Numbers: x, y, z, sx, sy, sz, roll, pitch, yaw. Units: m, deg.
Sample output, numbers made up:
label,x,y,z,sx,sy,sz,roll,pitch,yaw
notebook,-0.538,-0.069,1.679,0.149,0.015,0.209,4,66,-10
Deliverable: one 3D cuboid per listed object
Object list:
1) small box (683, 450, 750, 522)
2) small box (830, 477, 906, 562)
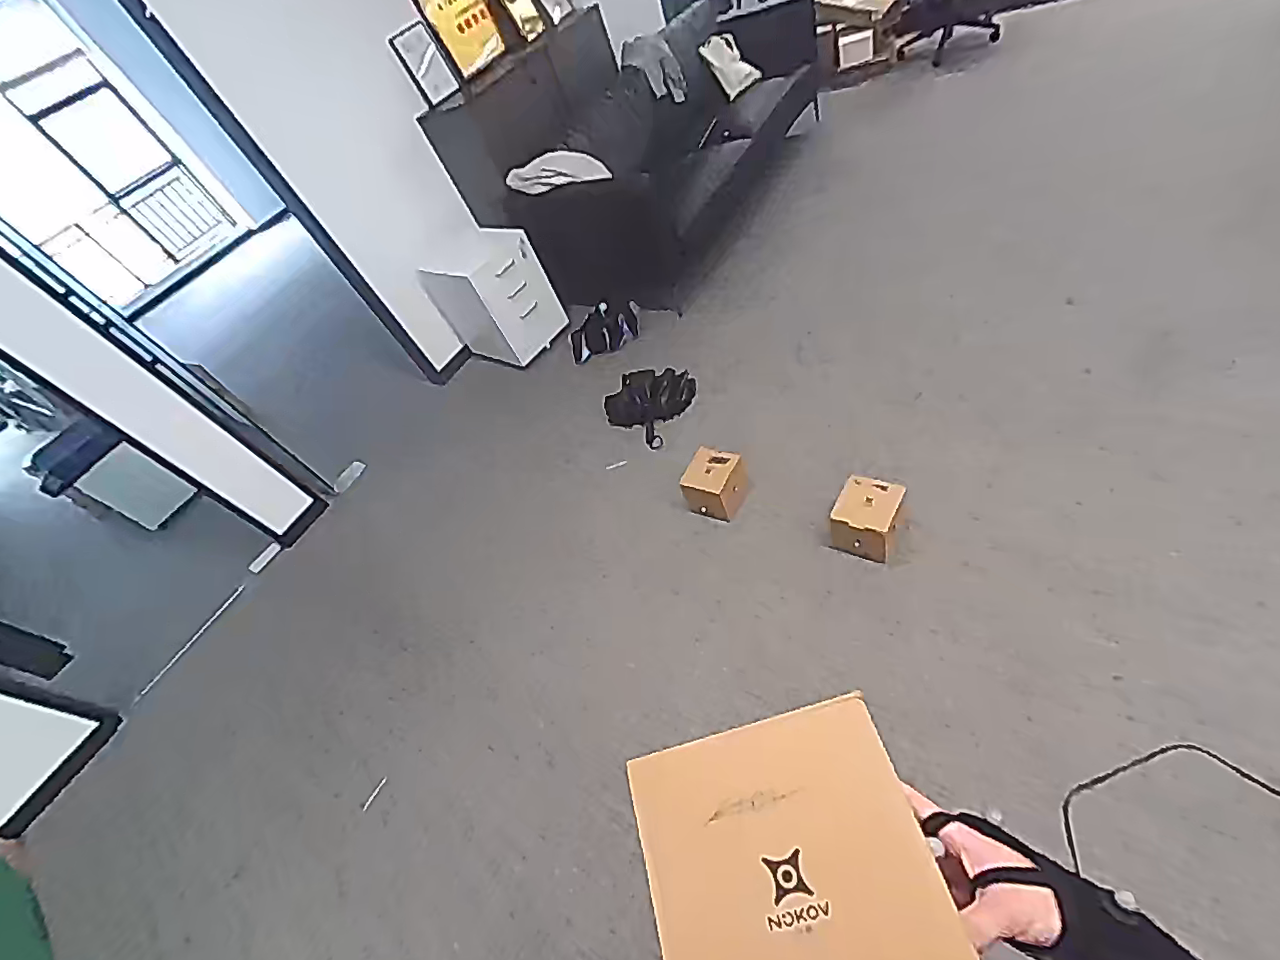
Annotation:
label,x,y,z,sx,sy,sz,roll,pitch,yaw
small box,0.282,0.023,1.945,0.168,0.176,0.179,14,61,35
small box,0.703,0.123,1.651,0.168,0.176,0.179,17,62,36
